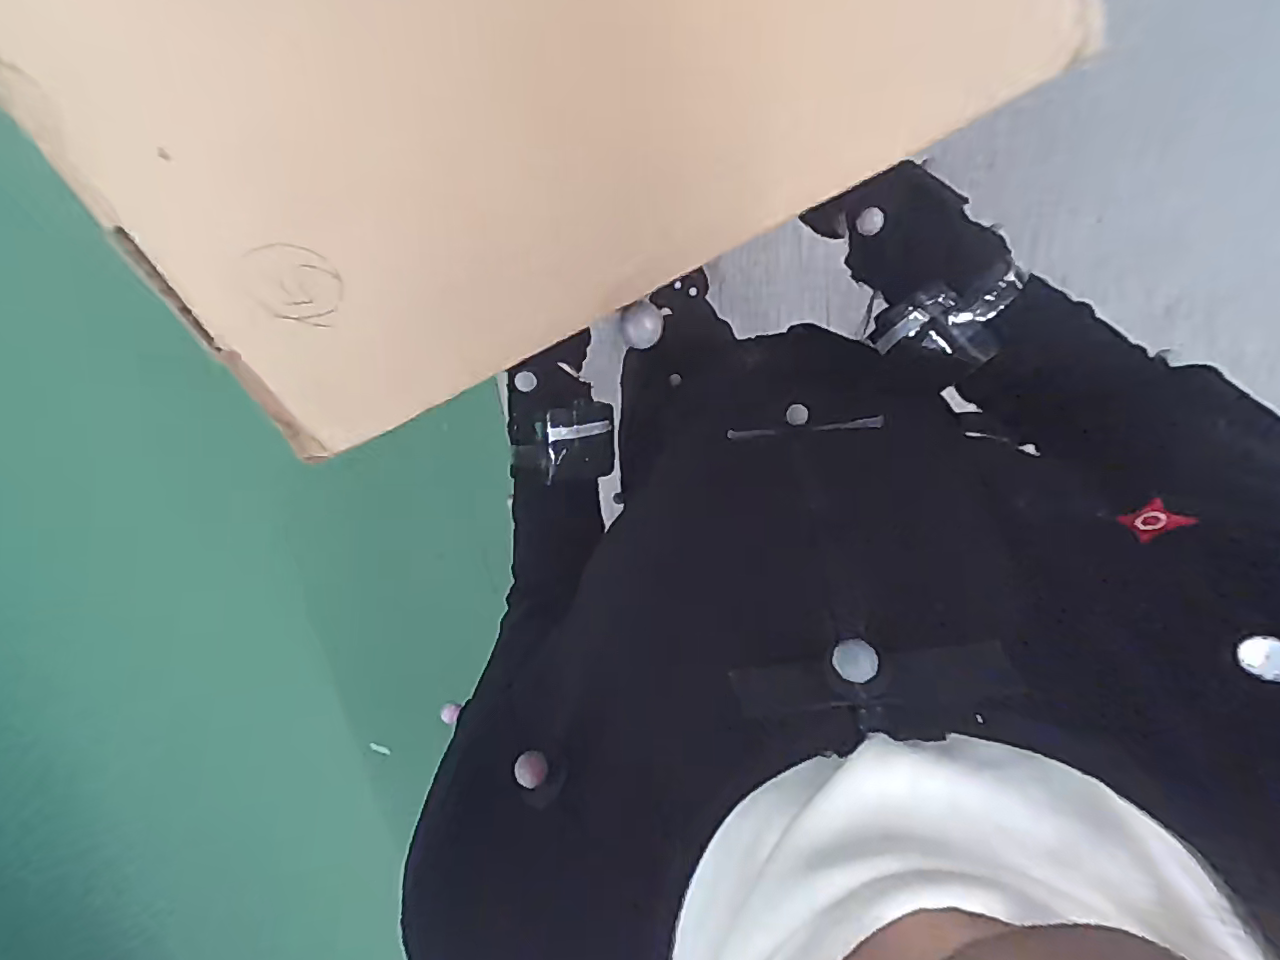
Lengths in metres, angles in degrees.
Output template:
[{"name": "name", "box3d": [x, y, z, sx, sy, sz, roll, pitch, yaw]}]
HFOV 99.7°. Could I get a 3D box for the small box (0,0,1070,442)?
[{"name": "small box", "box3d": [-0.037, -0.139, 0.151, 0.179, 0.176, 0.168, -23, 112, 14]}]
